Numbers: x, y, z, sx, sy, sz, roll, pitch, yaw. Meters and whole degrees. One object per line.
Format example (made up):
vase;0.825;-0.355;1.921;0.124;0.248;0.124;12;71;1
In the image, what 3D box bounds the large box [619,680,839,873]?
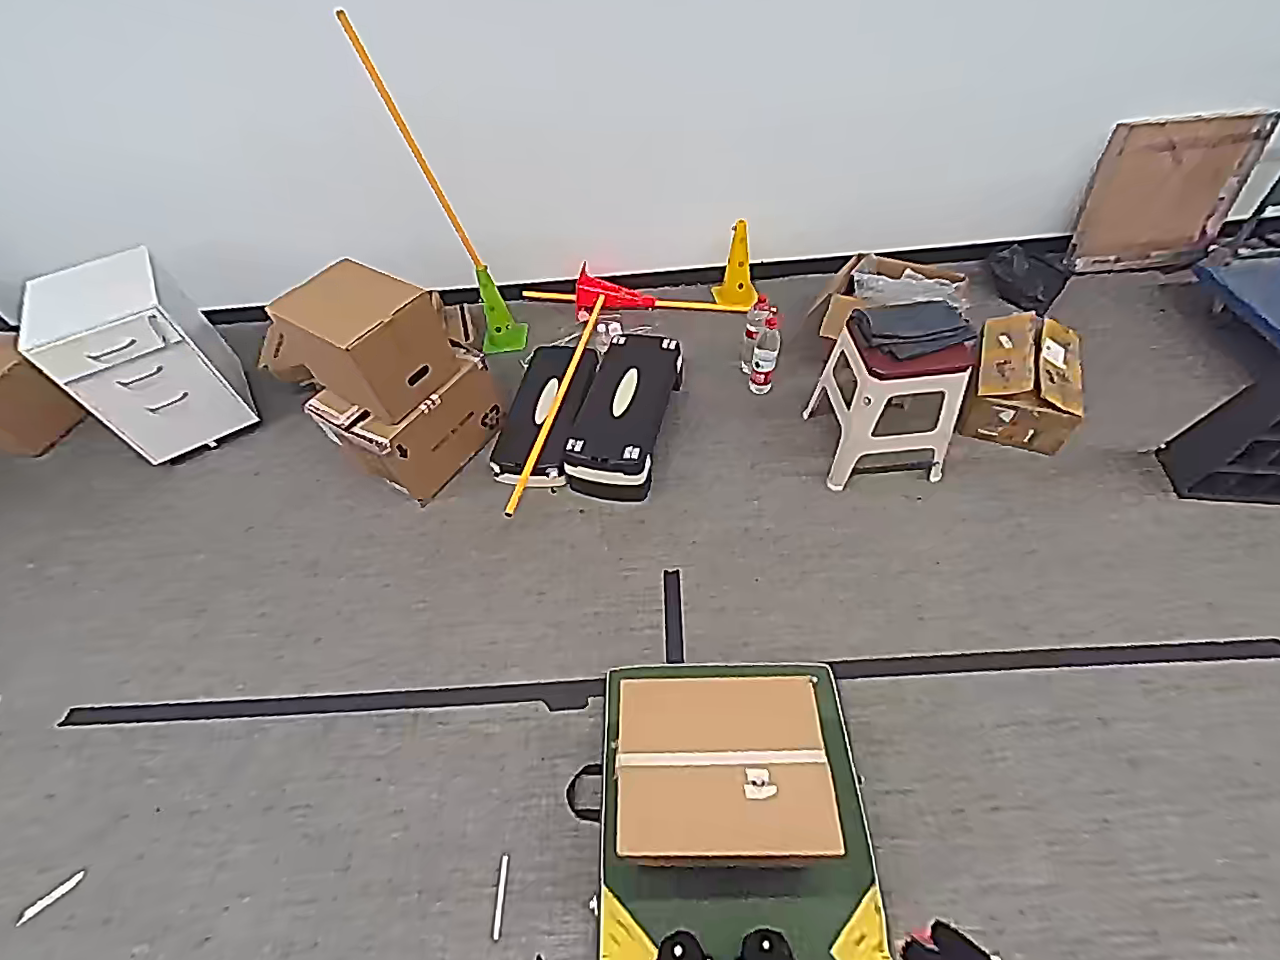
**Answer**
large box;0.164;0.649;1.176;0.408;0.320;0.320;-2;51;2
